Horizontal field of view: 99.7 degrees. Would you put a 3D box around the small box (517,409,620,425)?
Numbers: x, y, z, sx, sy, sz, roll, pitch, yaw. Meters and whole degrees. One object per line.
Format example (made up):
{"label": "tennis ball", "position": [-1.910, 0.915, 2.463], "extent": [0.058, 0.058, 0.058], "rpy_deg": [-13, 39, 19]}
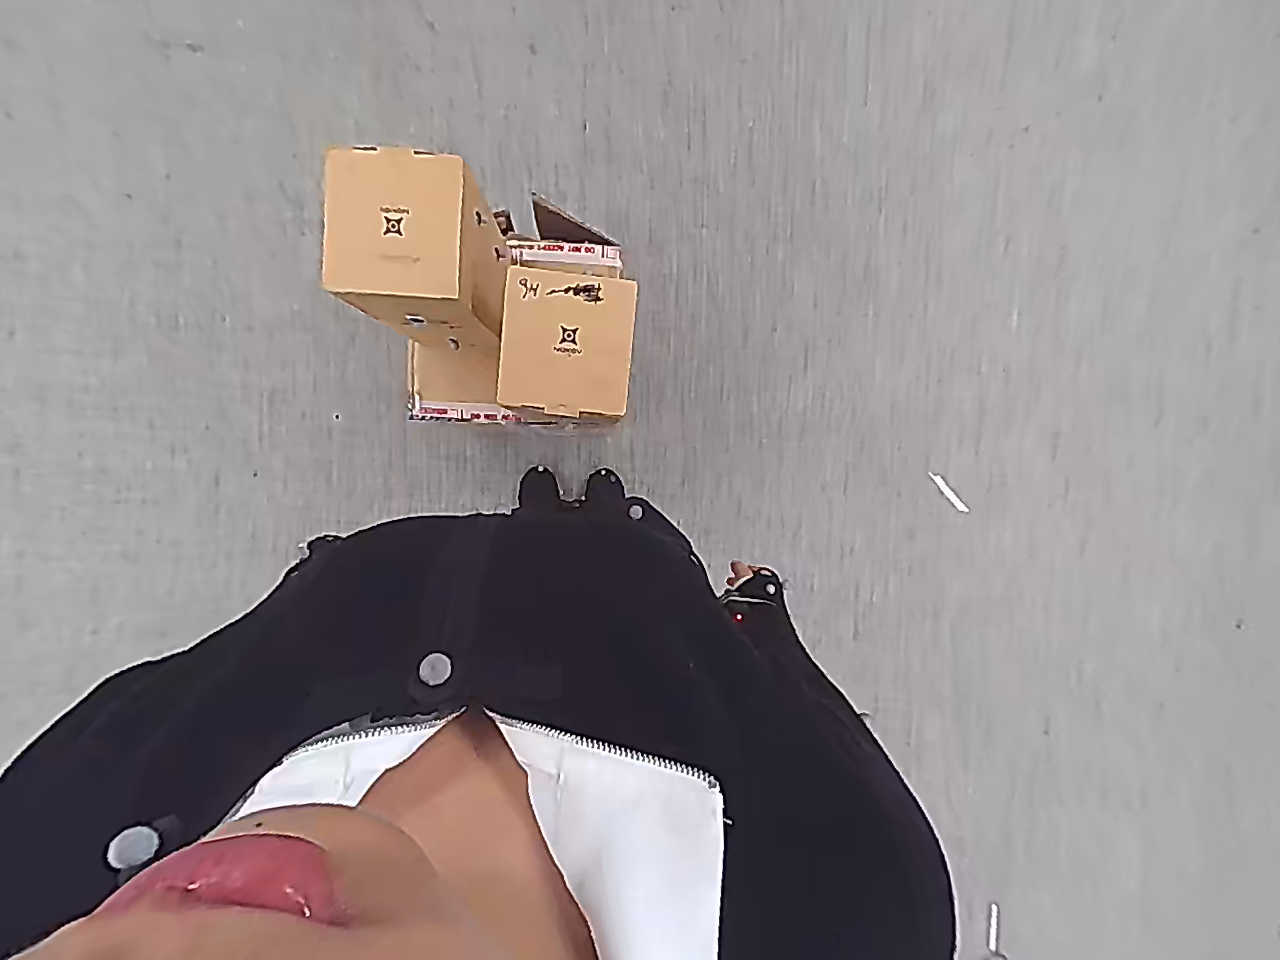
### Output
{"label": "small box", "position": [-0.118, -0.189, 0.929], "extent": [0.168, 0.176, 0.179], "rpy_deg": [2, 94, -6]}

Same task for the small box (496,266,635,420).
{"label": "small box", "position": [-0.101, -0.180, 0.766], "extent": [0.168, 0.176, 0.179], "rpy_deg": [5, 93, -6]}

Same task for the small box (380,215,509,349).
{"label": "small box", "position": [-0.316, -0.327, 0.904], "extent": [0.168, 0.176, 0.179], "rpy_deg": [2, 93, -4]}

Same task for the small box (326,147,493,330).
{"label": "small box", "position": [-0.304, -0.318, 0.742], "extent": [0.168, 0.176, 0.179], "rpy_deg": [2, 93, -3]}
